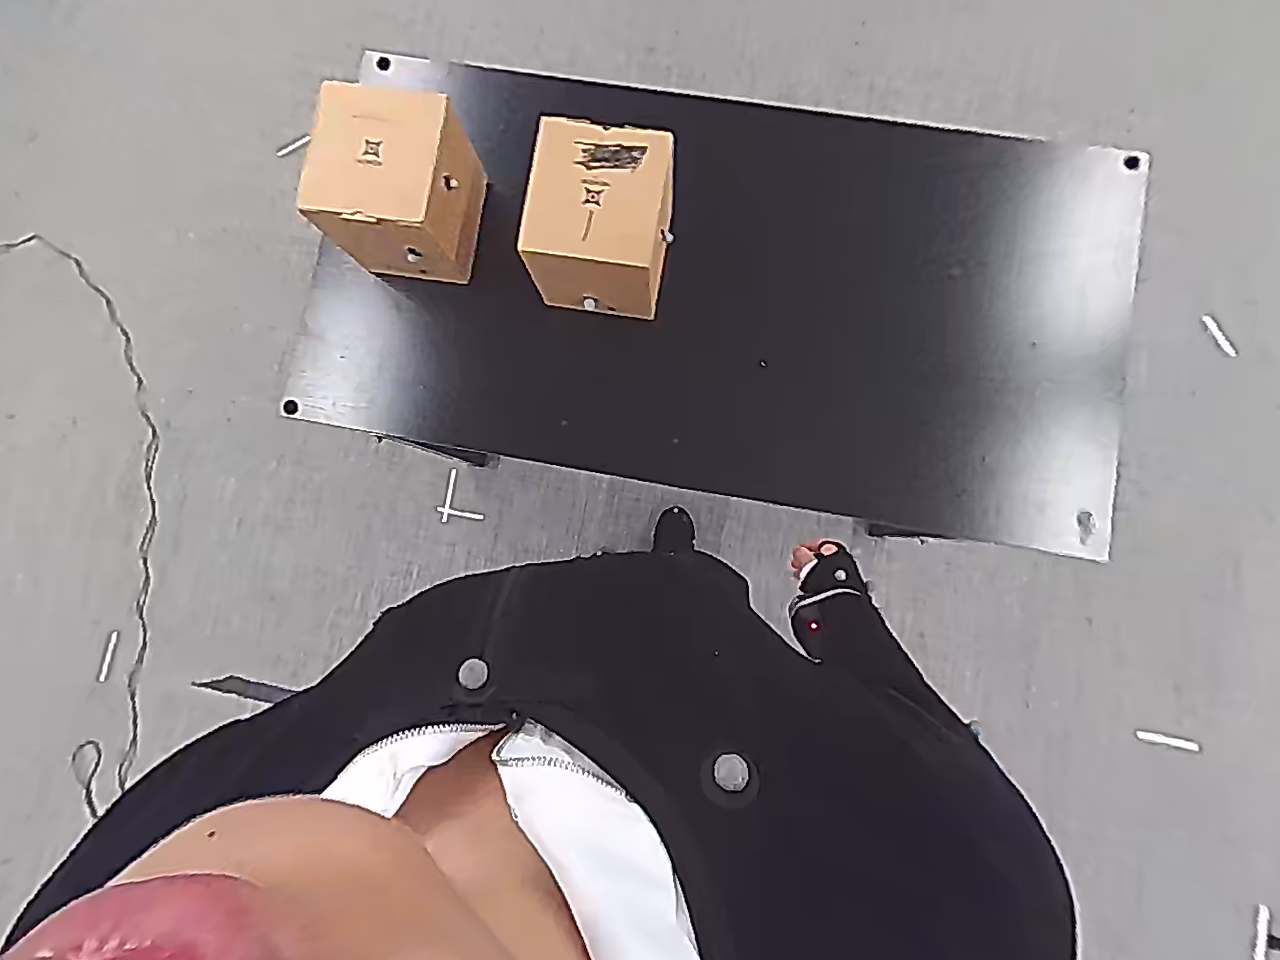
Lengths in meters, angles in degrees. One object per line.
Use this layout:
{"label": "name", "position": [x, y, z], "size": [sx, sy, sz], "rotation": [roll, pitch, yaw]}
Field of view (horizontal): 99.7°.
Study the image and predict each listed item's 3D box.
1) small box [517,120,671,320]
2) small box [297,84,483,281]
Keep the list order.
{"label": "small box", "position": [-0.054, -0.344, 0.741], "size": [0.168, 0.176, 0.179], "rotation": [9, 86, 3]}
{"label": "small box", "position": [-0.335, -0.402, 0.760], "size": [0.168, 0.176, 0.179], "rotation": [8, 84, 2]}
